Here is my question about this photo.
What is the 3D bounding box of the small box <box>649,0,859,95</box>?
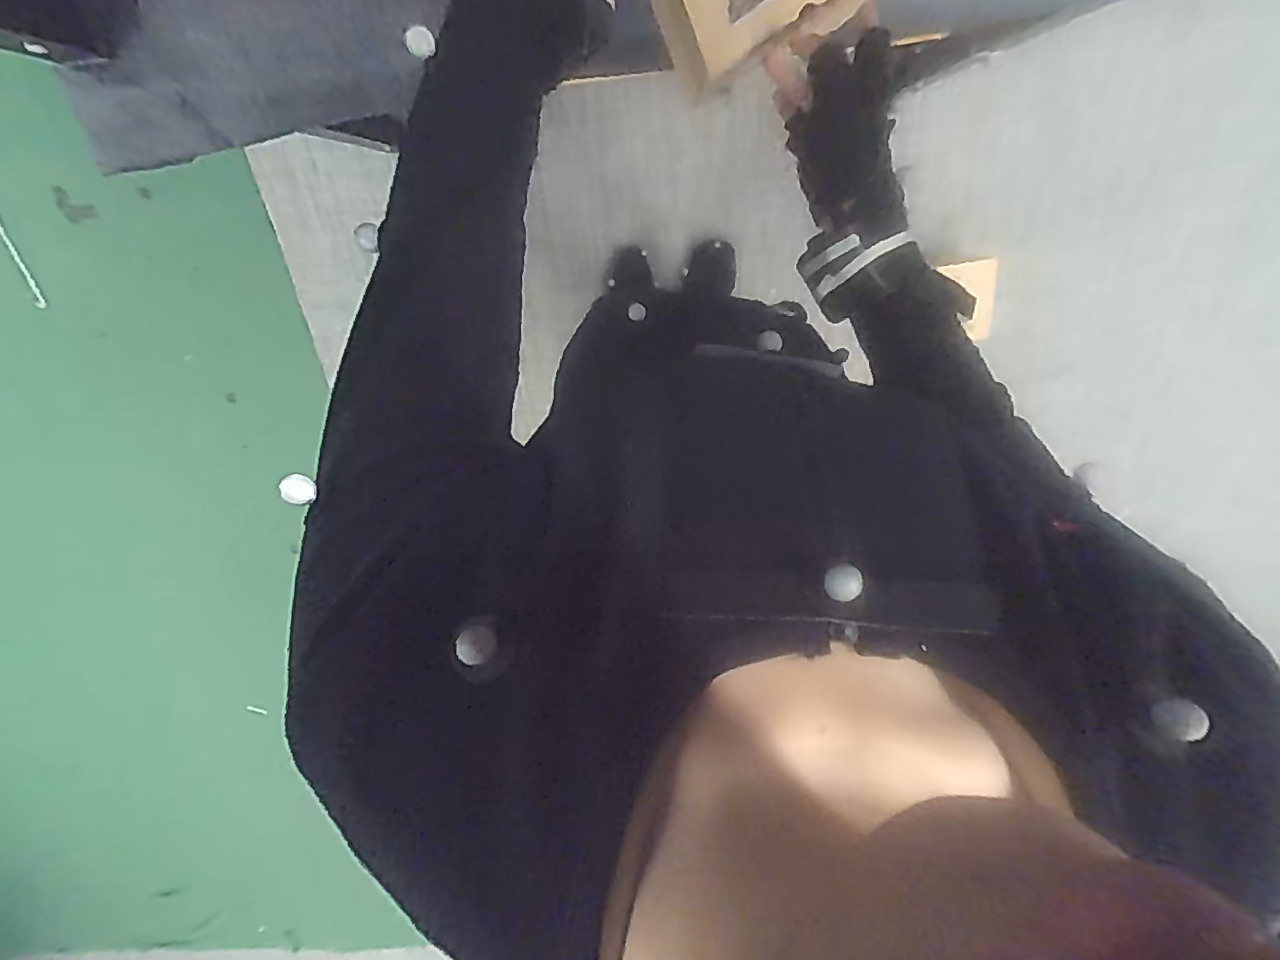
[{"bbox_3d":[0.087,-0.450,0.442,0.168,0.176,0.179,-23,114,12],"label":"small box"}]
